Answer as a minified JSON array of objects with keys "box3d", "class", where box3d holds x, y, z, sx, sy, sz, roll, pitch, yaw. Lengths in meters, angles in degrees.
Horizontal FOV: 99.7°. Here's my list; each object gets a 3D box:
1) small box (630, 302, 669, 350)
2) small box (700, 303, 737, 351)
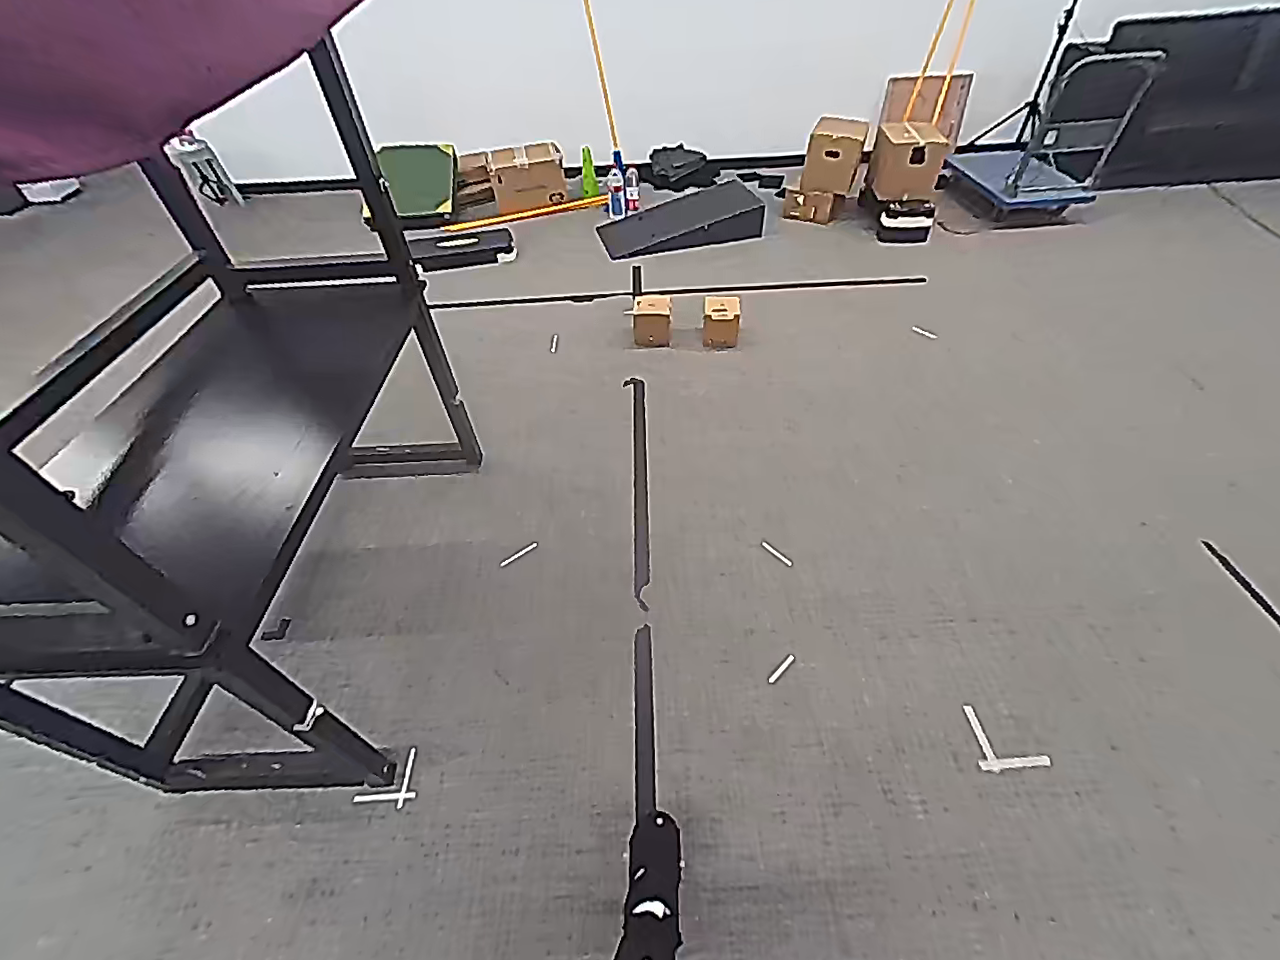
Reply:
[{"box3d":[0.047,-0.749,2.642,0.179,0.176,0.168,2,46,3],"class":"small box"},{"box3d":[0.378,-0.742,2.621,0.168,0.176,0.179,2,46,4],"class":"small box"}]
